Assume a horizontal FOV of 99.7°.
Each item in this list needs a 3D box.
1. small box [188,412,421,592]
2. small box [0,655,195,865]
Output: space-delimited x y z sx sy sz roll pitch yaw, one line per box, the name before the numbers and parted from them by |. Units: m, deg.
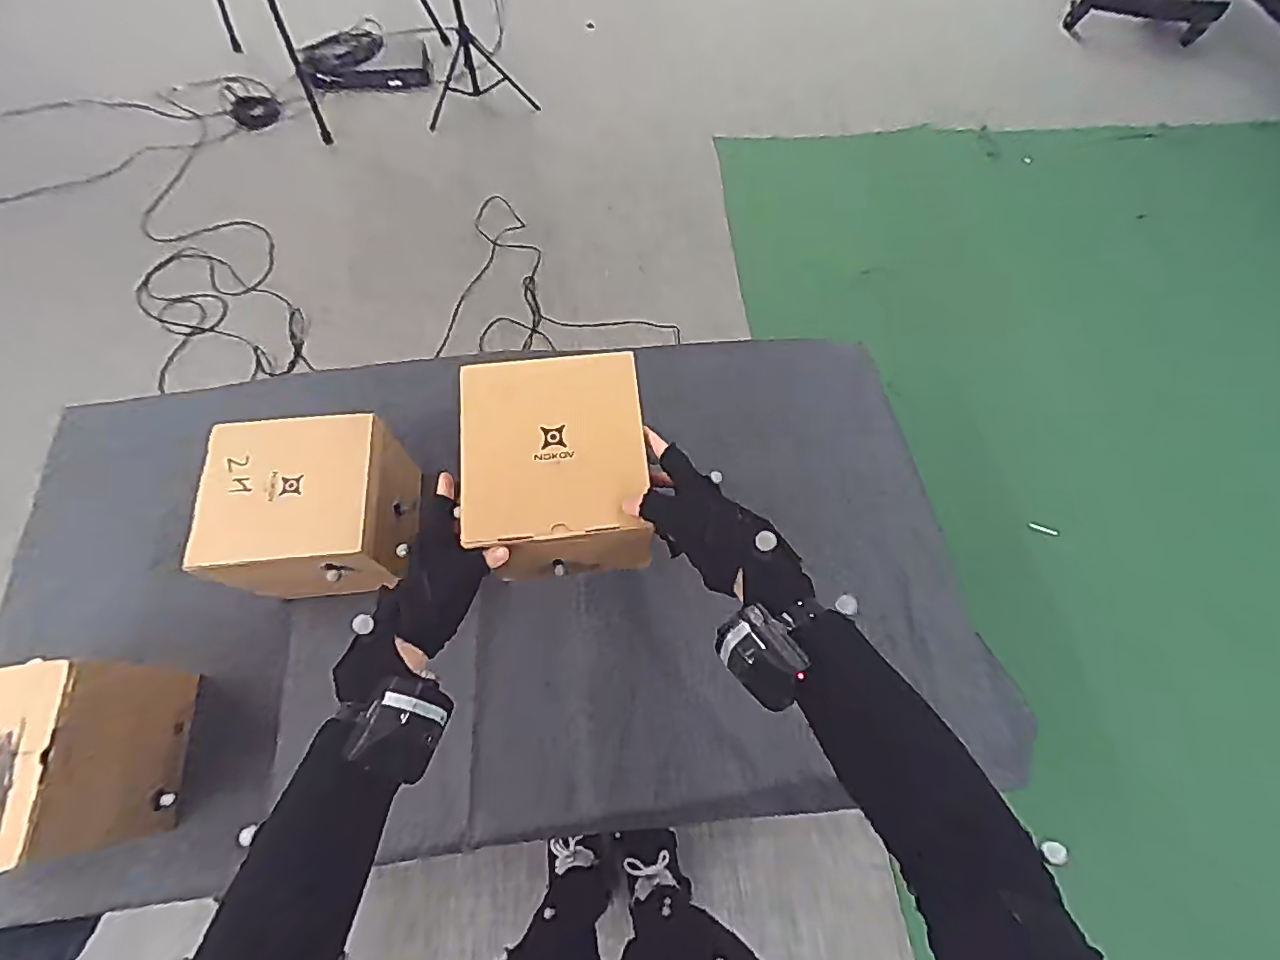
small box | -0.377 0.033 0.649 0.179 0.176 0.168 -4 67 -5
small box | -0.596 0.275 0.534 0.179 0.176 0.168 -6 66 -5
